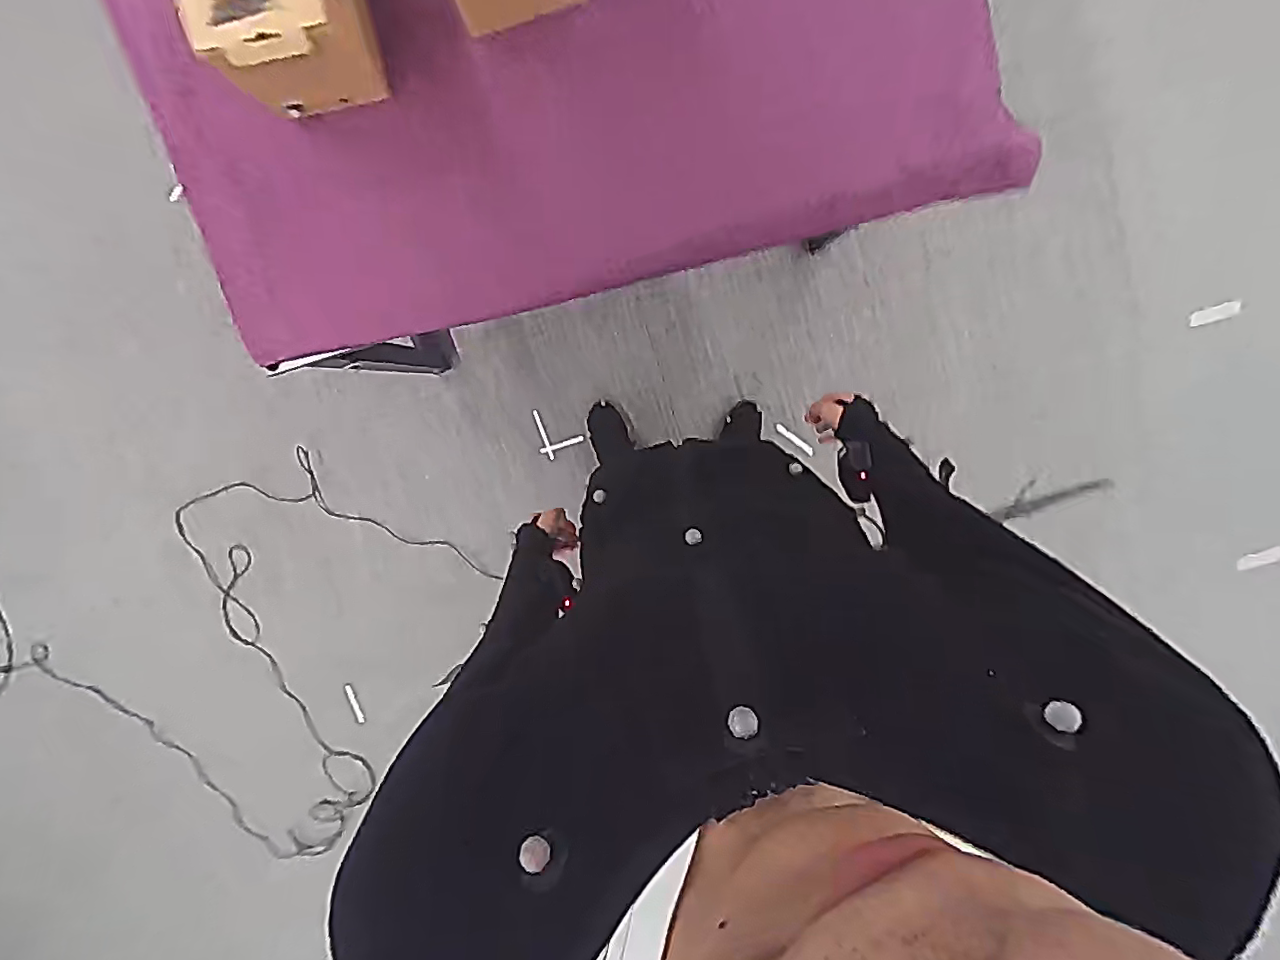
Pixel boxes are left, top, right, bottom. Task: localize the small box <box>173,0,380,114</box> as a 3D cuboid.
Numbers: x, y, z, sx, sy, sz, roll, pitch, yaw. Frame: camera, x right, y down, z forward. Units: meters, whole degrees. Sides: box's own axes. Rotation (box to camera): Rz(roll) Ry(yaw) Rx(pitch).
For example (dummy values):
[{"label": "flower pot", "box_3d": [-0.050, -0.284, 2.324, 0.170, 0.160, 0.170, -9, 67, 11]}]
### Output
[{"label": "small box", "box_3d": [-0.466, -0.609, 0.699, 0.168, 0.176, 0.179, -12, 100, 0]}]
